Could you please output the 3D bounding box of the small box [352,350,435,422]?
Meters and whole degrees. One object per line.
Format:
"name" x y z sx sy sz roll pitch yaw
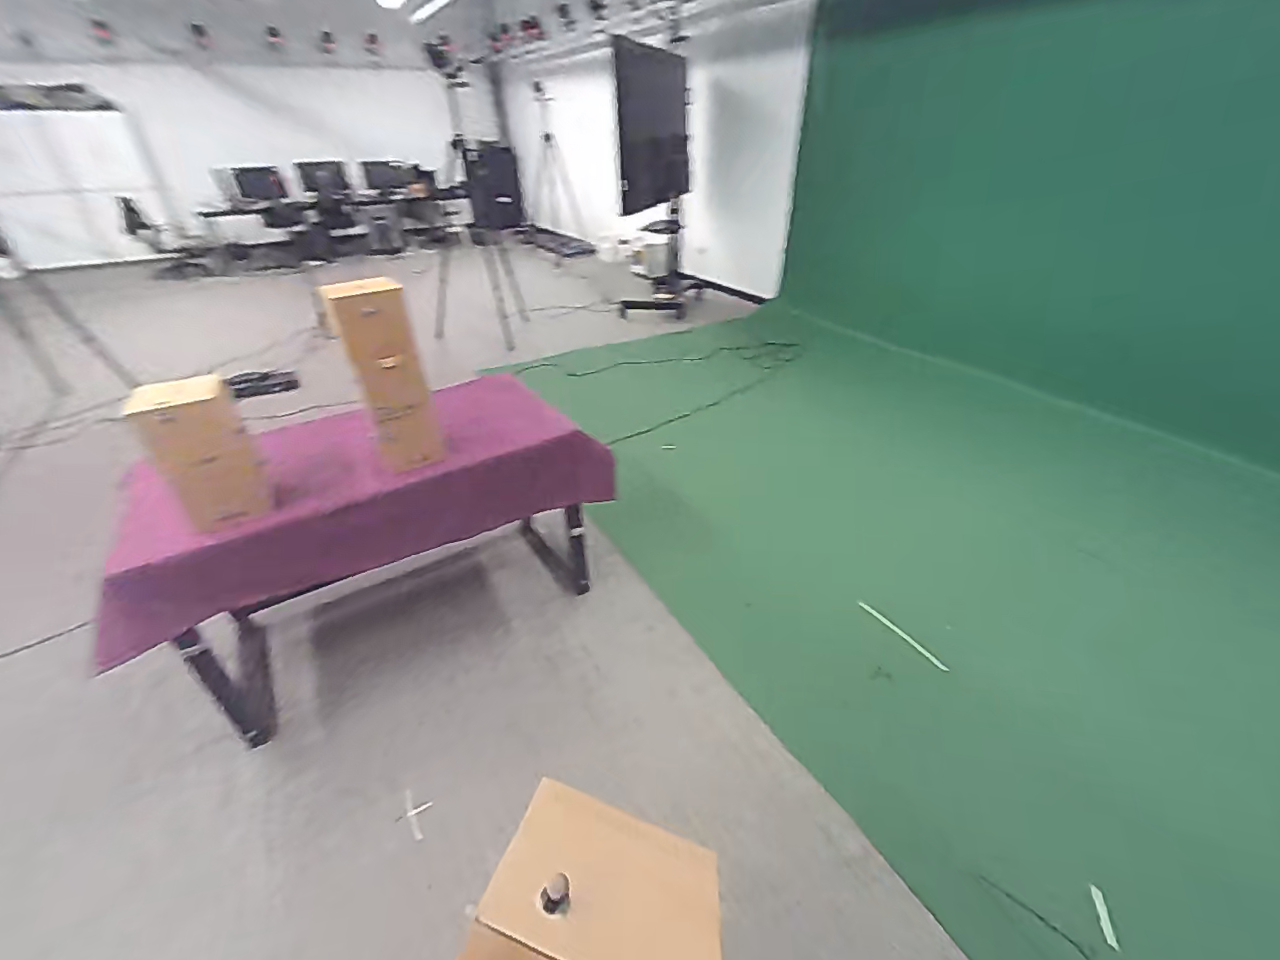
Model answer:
"small box" -0.693 -0.277 1.516 0.168 0.176 0.179 -21 36 -27

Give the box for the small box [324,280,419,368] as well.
"small box" -0.702 -0.414 1.428 0.179 0.176 0.168 -23 38 -27

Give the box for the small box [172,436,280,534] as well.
"small box" -1.054 0.012 1.392 0.168 0.176 0.179 -18 37 -22

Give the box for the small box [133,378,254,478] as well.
"small box" -1.059 -0.127 1.302 0.168 0.176 0.179 -19 36 -22
